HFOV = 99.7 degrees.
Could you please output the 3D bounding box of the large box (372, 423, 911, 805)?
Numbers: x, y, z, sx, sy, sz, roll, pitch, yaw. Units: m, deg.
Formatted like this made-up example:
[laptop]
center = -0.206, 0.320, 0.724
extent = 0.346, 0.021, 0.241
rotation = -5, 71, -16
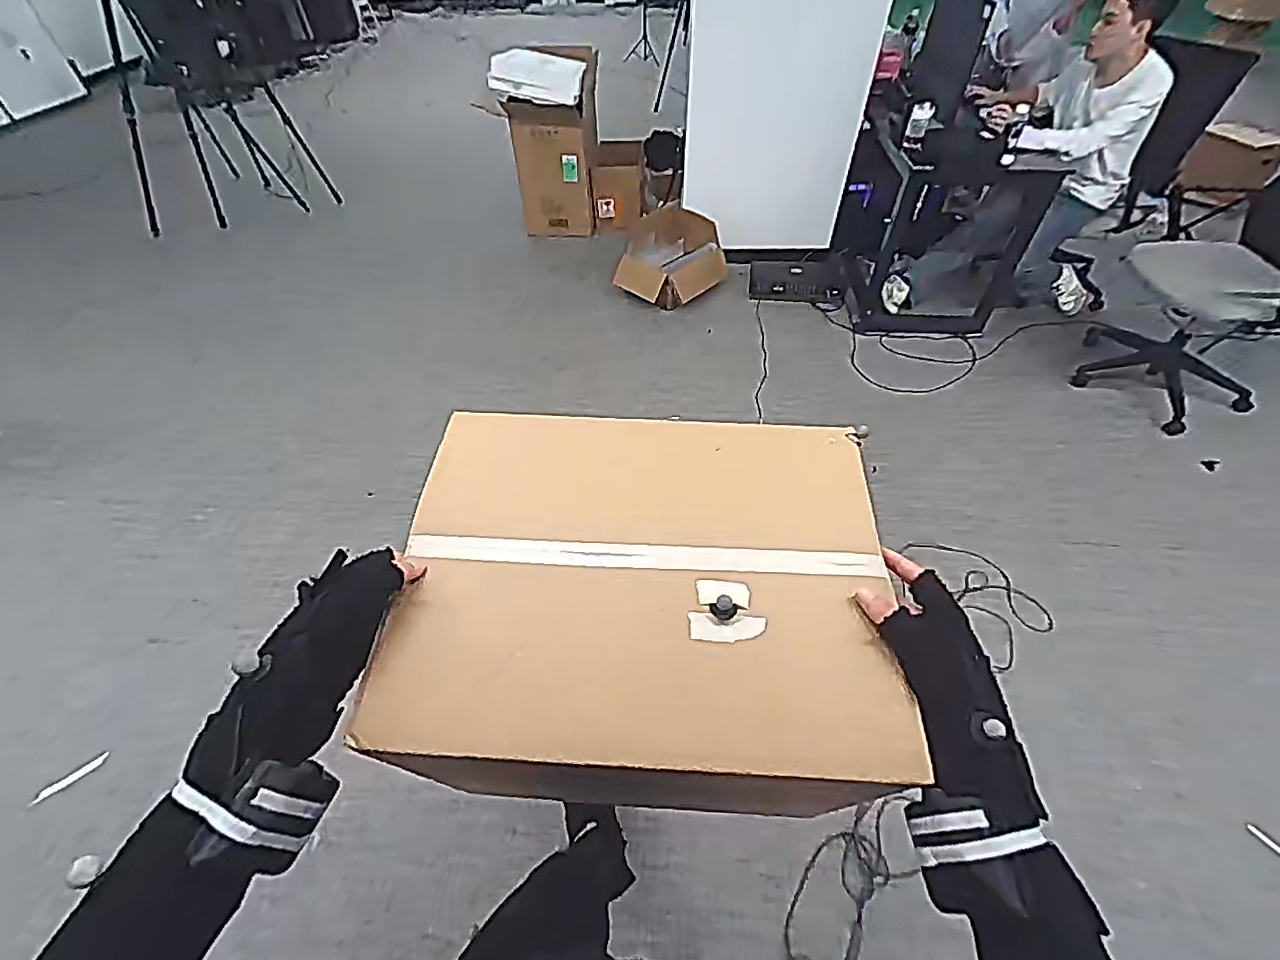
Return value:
[large box]
center = 0.004, 0.158, 0.598
extent = 0.408, 0.320, 0.320
rotation = 3, 55, 2
